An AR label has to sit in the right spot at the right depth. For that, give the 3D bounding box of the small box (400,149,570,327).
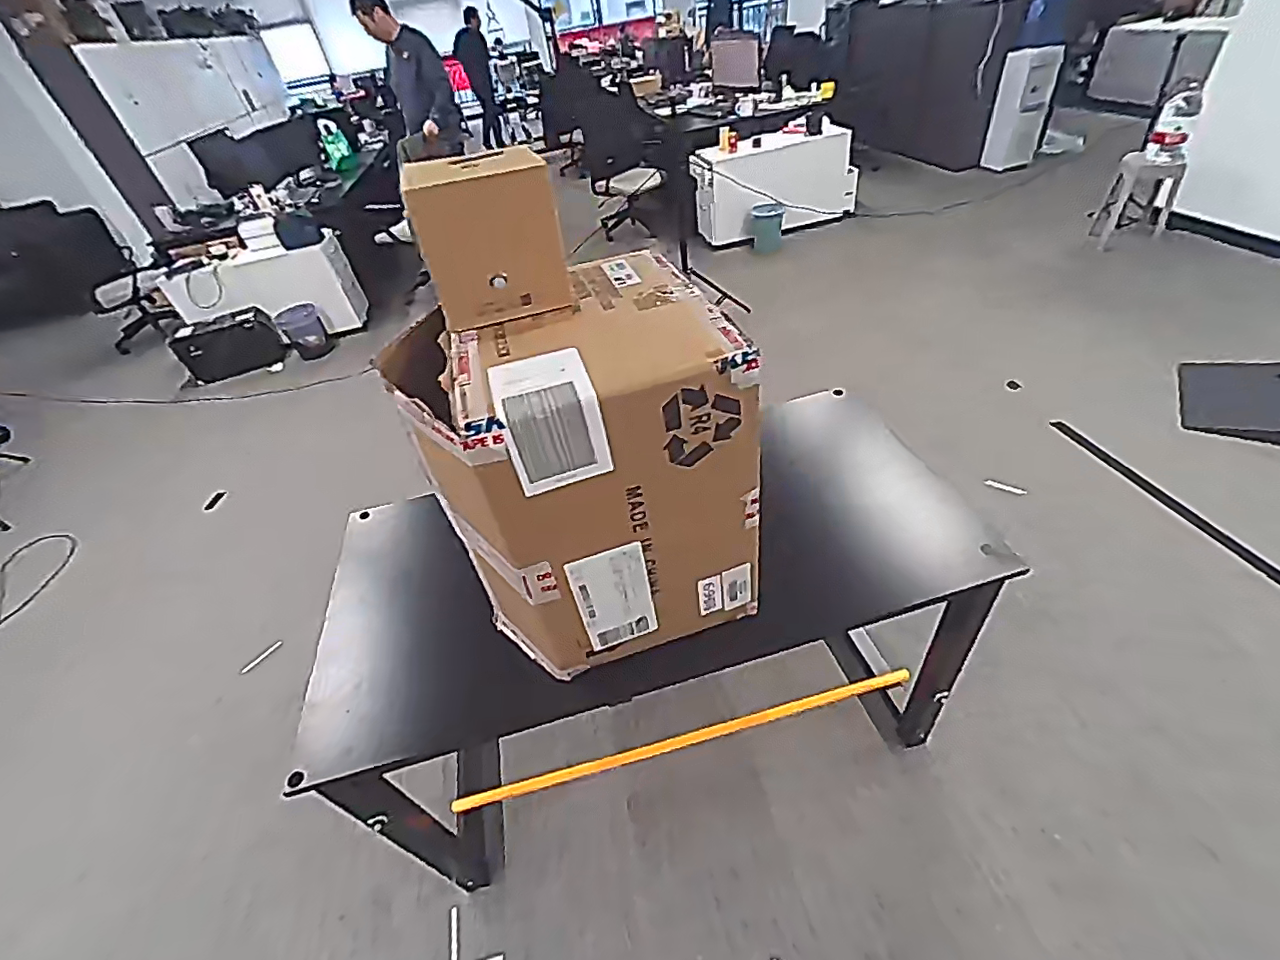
[{"bbox_3d":[-0.201,-0.321,0.714,0.168,0.176,0.179,-17,40,-10],"label":"small box"}]
